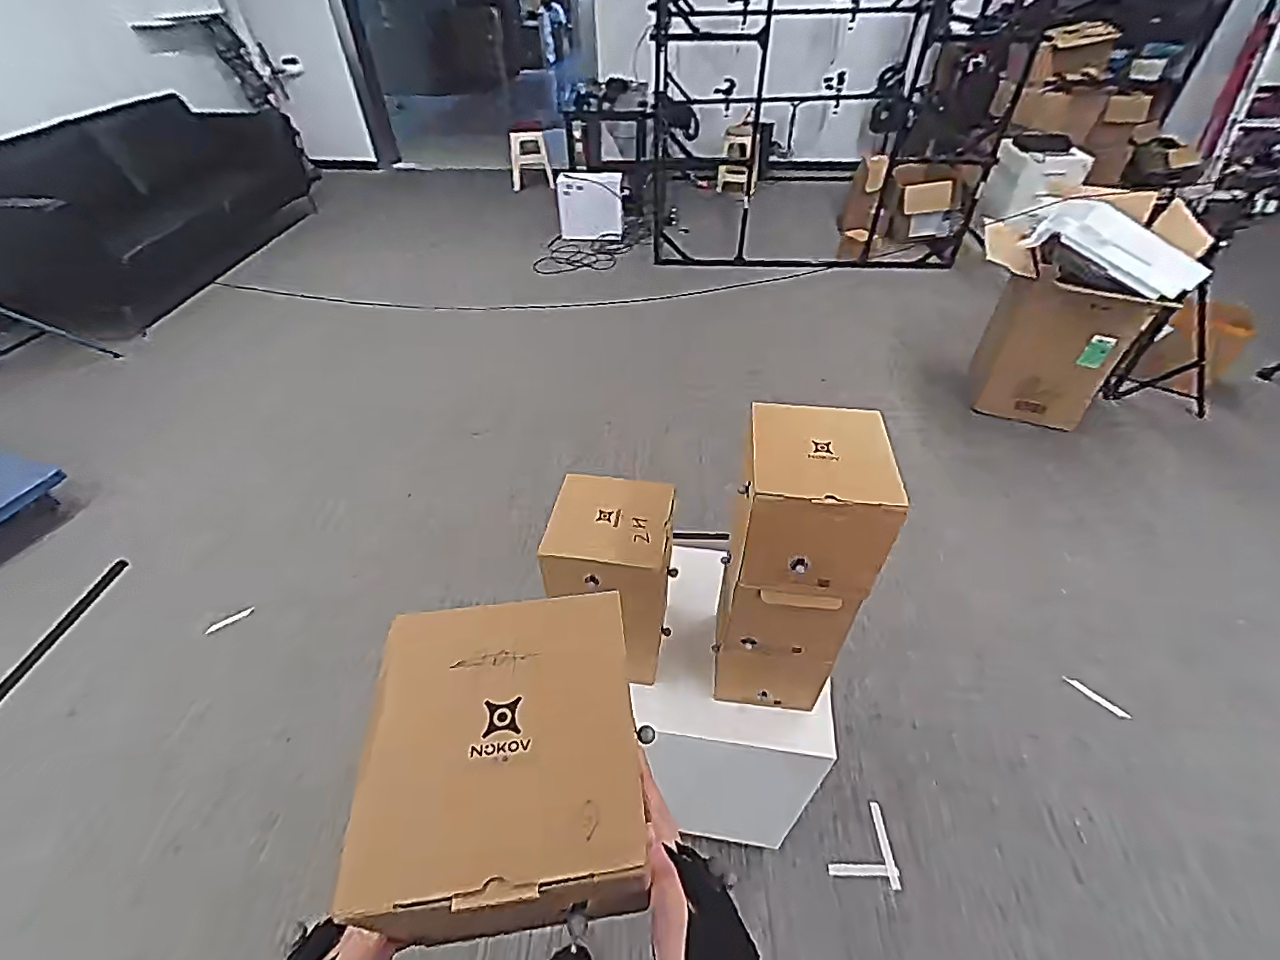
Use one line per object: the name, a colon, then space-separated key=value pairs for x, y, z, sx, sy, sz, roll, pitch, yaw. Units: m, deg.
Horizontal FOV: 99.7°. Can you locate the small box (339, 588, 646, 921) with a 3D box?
small box: x=-0.085 y=0.205 z=0.400 sx=0.168 sy=0.176 sz=0.179 roll=-4 pitch=46 yaw=-5

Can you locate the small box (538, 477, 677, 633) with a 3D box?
small box: x=-0.041 y=0.117 z=0.835 sx=0.179 sy=0.176 sz=0.168 roll=7 pitch=45 yaw=7

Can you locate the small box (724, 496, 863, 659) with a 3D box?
small box: x=0.217 y=0.145 z=0.806 sx=0.168 sy=0.176 sz=0.179 roll=5 pitch=43 yaw=6

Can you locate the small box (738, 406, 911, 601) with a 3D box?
small box: x=0.217 y=0.029 z=0.693 sx=0.168 sy=0.176 sz=0.179 roll=5 pitch=44 yaw=5

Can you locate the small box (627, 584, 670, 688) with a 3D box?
small box: x=-0.039 y=0.235 z=0.952 sx=0.168 sy=0.176 sz=0.179 roll=7 pitch=43 yaw=7
